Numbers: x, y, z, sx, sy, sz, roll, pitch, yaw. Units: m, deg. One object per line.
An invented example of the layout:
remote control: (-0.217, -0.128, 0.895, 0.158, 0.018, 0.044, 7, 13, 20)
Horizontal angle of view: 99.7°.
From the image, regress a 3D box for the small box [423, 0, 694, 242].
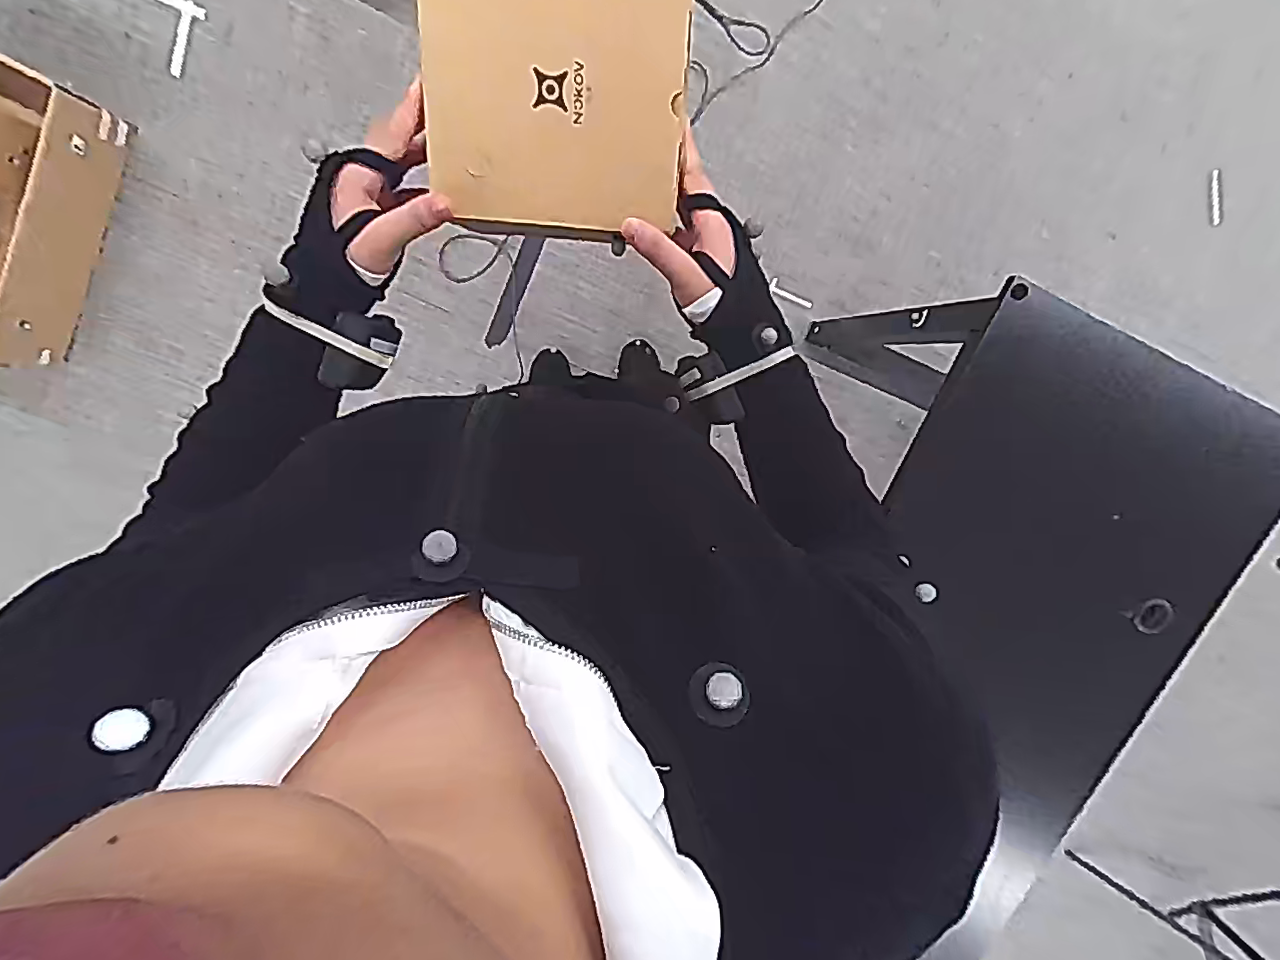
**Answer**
small box: (-0.063, -0.292, 0.441, 0.179, 0.176, 0.168, 1, 111, -8)
